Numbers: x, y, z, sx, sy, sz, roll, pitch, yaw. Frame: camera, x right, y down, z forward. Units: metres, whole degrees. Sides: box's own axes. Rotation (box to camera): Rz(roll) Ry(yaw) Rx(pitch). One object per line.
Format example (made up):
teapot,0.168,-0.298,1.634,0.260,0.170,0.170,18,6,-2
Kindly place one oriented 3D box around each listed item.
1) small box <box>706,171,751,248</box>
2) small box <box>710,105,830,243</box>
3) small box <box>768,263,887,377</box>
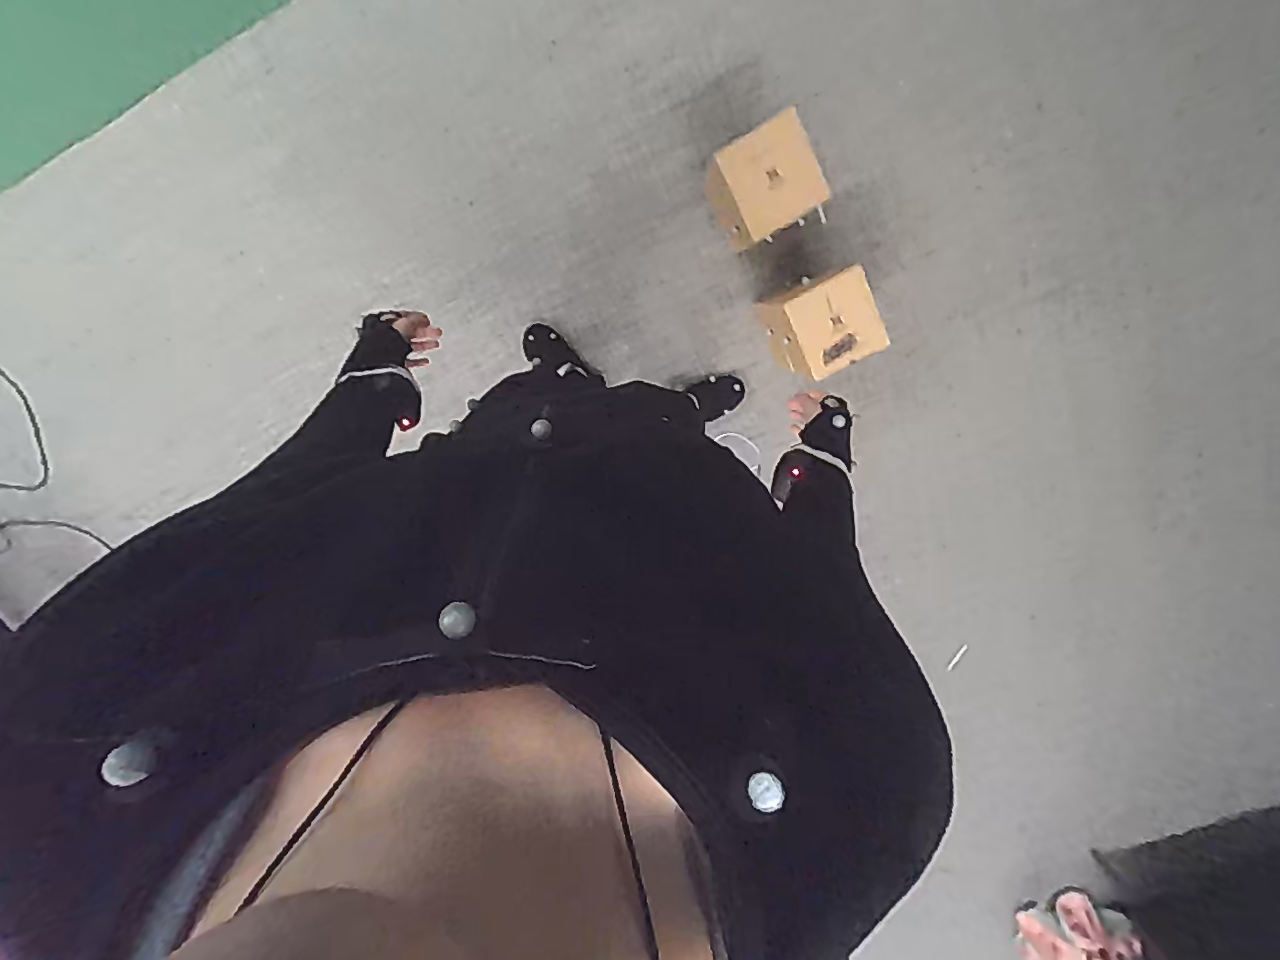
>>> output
small box,0.264,-0.656,1.245,0.168,0.176,0.179,-27,104,9
small box,0.253,-0.600,1.091,0.168,0.176,0.179,-27,103,9
small box,0.396,-0.345,1.166,0.168,0.176,0.179,-26,104,8
